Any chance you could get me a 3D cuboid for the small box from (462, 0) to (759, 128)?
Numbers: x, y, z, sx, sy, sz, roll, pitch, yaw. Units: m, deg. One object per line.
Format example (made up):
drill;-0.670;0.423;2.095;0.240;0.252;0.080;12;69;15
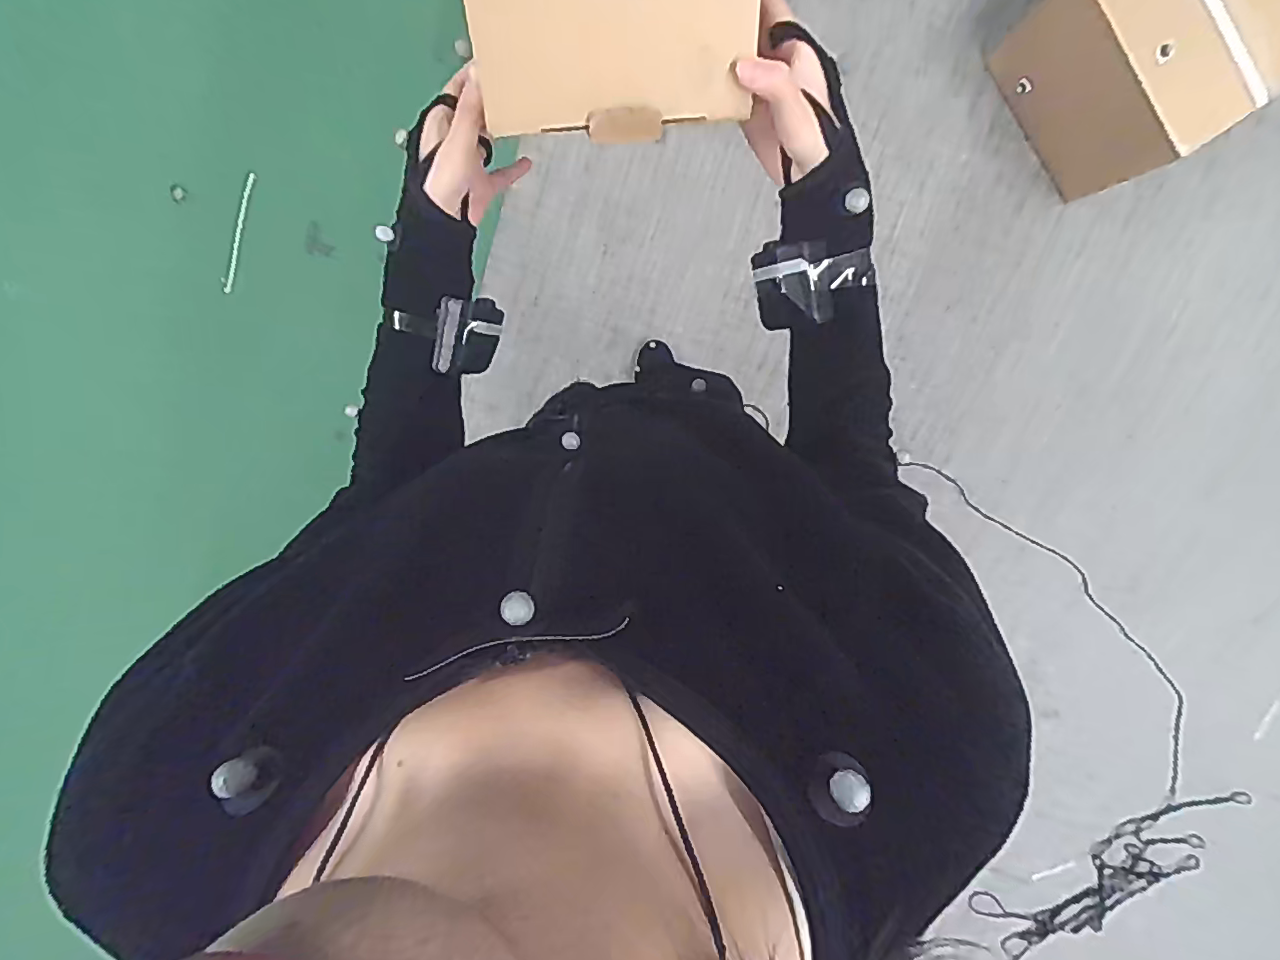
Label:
small box;-0.027;-0.335;0.337;0.168;0.176;0.179;-8;127;-7
